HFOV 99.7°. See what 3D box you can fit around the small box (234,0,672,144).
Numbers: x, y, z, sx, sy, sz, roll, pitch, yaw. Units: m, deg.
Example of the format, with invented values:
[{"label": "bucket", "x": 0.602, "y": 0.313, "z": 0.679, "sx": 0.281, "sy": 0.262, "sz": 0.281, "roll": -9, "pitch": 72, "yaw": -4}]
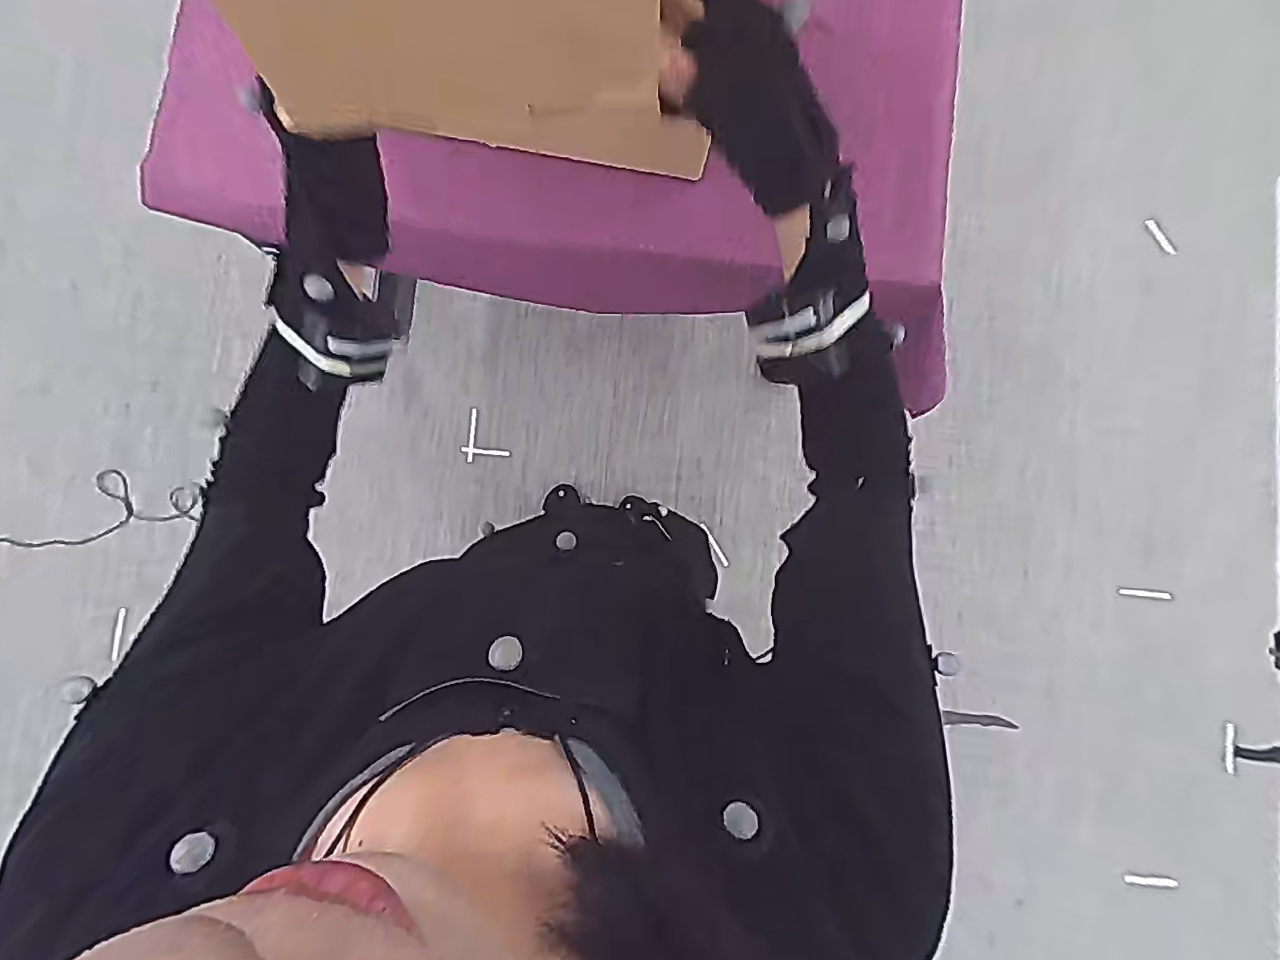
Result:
[{"label": "small box", "x": -0.077, "y": -0.269, "z": 0.200, "sx": 0.168, "sy": 0.179, "sz": 0.176, "roll": -7, "pitch": 70, "yaw": -1}]
